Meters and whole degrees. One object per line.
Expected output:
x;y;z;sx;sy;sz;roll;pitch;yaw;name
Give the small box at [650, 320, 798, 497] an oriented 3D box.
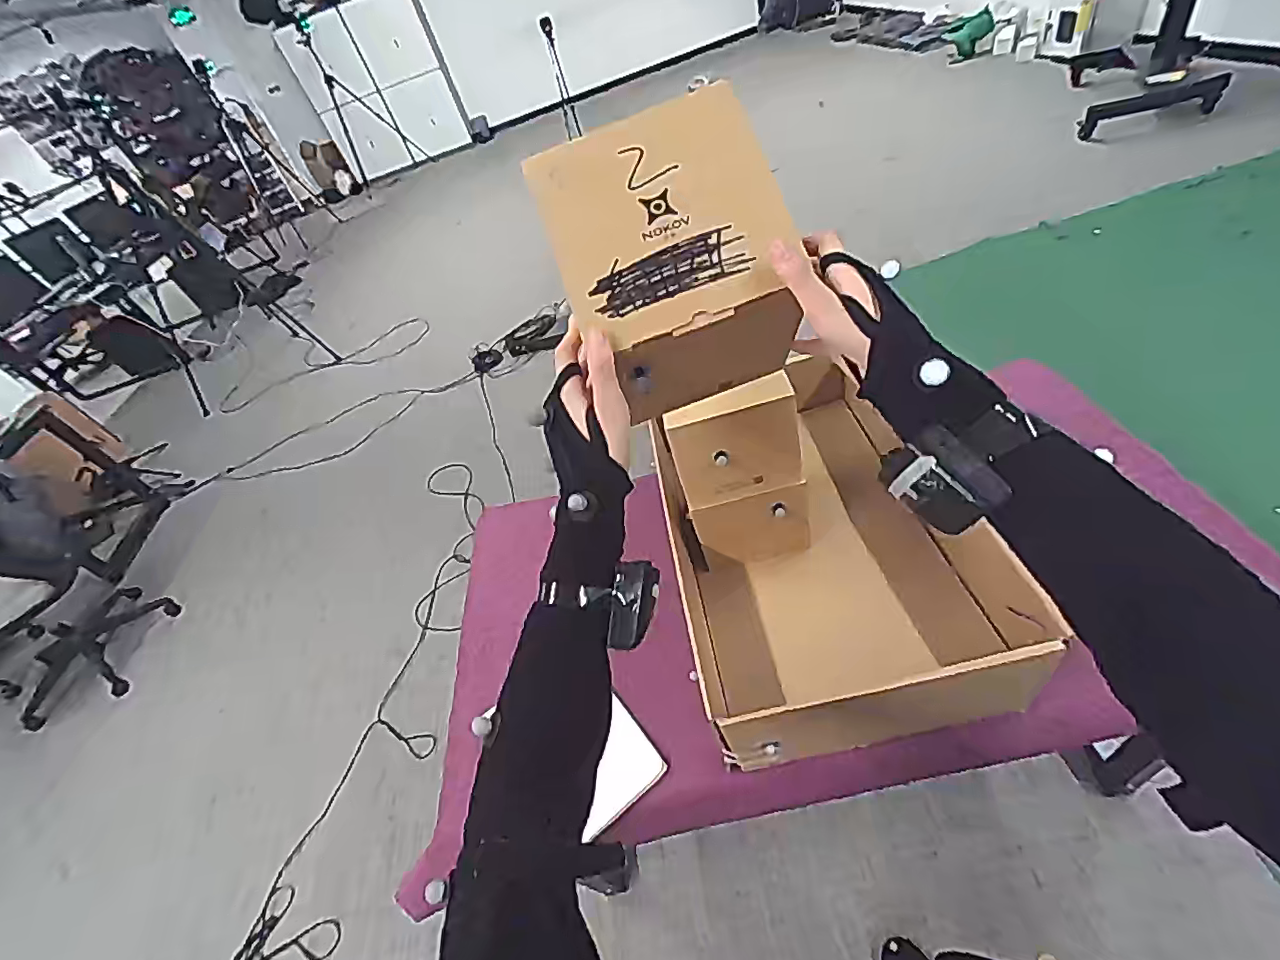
0.122;-0.094;0.778;0.168;0.176;0.179;-15;45;8;small box
